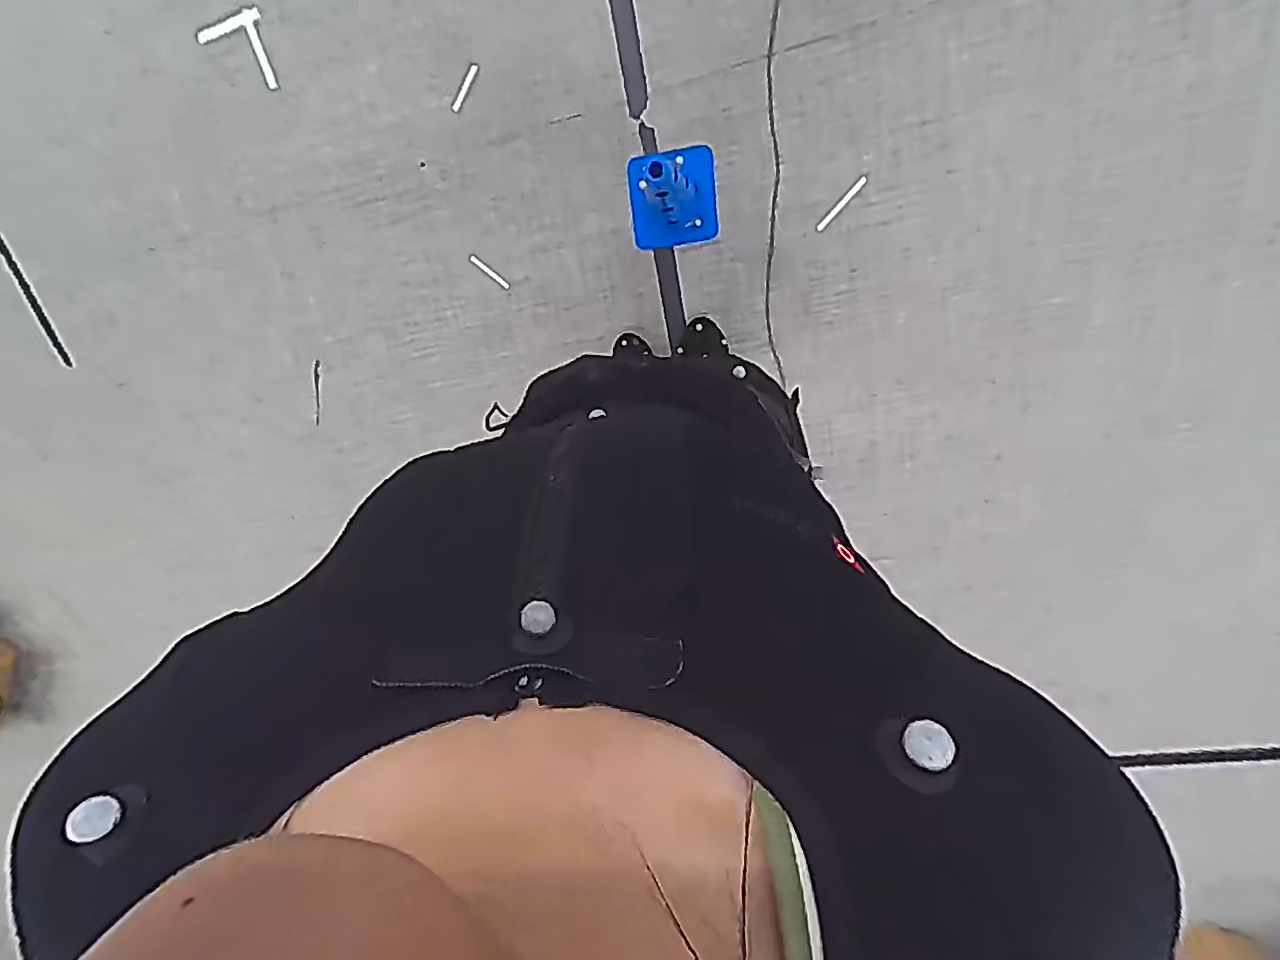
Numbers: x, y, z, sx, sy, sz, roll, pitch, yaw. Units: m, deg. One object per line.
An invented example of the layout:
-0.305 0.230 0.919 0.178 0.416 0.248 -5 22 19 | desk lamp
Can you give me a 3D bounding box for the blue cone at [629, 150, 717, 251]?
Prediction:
0.054 -0.589 1.091 0.193 0.380 0.192 -6 108 10 | blue cone
